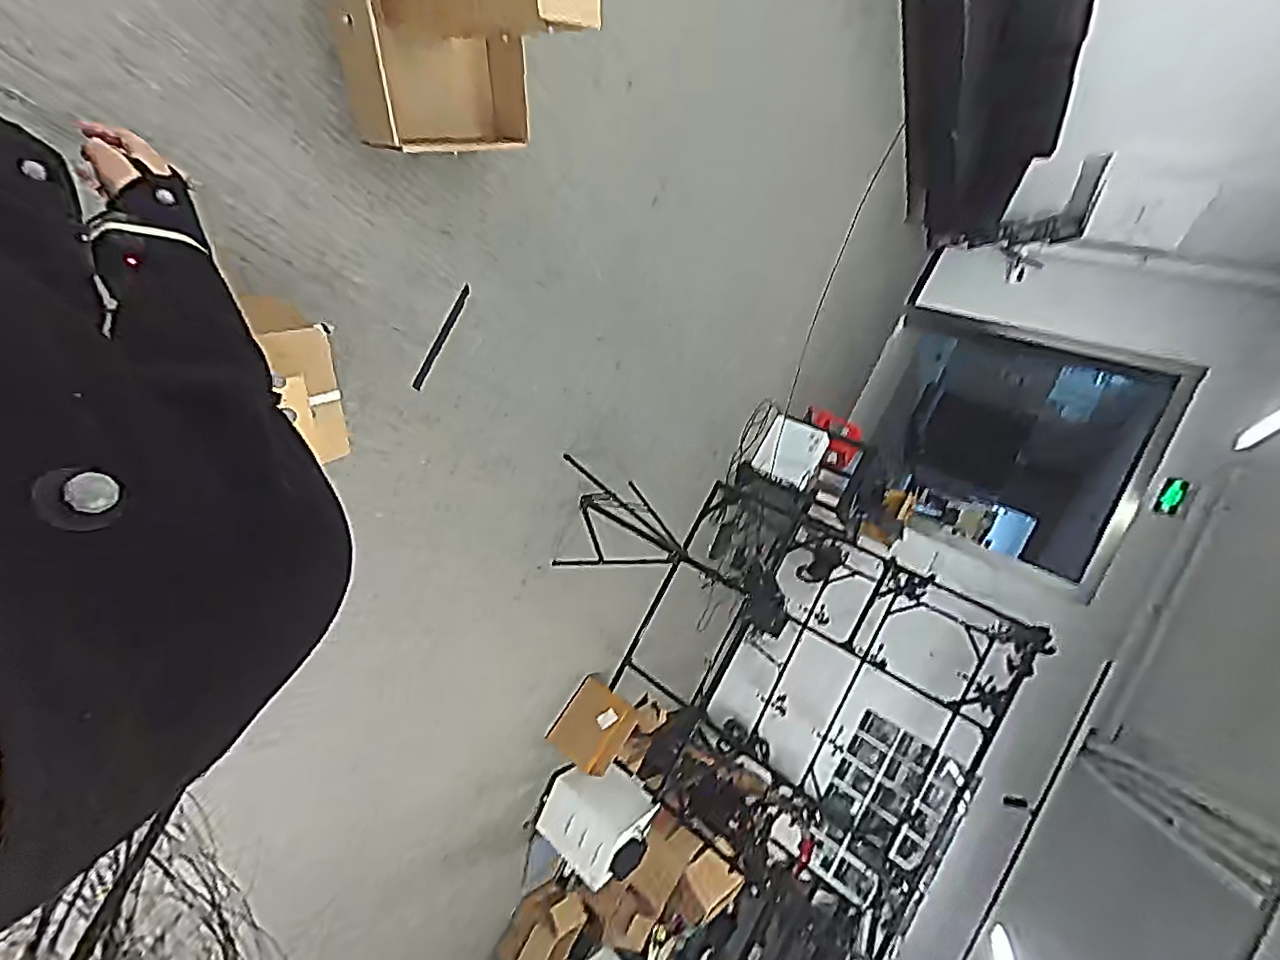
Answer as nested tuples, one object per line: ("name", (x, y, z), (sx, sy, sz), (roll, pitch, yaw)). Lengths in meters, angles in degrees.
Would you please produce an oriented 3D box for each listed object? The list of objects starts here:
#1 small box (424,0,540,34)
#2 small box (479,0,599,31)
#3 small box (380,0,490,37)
("small box", (-0.330, -1.039, 1.117), (0.179, 0.176, 0.168), (-32, 136, -41))
("small box", (-0.199, -0.980, 1.037), (0.179, 0.176, 0.168), (-35, 139, -42))
("small box", (-0.456, -1.102, 1.196), (0.179, 0.176, 0.168), (-31, 136, -43))
